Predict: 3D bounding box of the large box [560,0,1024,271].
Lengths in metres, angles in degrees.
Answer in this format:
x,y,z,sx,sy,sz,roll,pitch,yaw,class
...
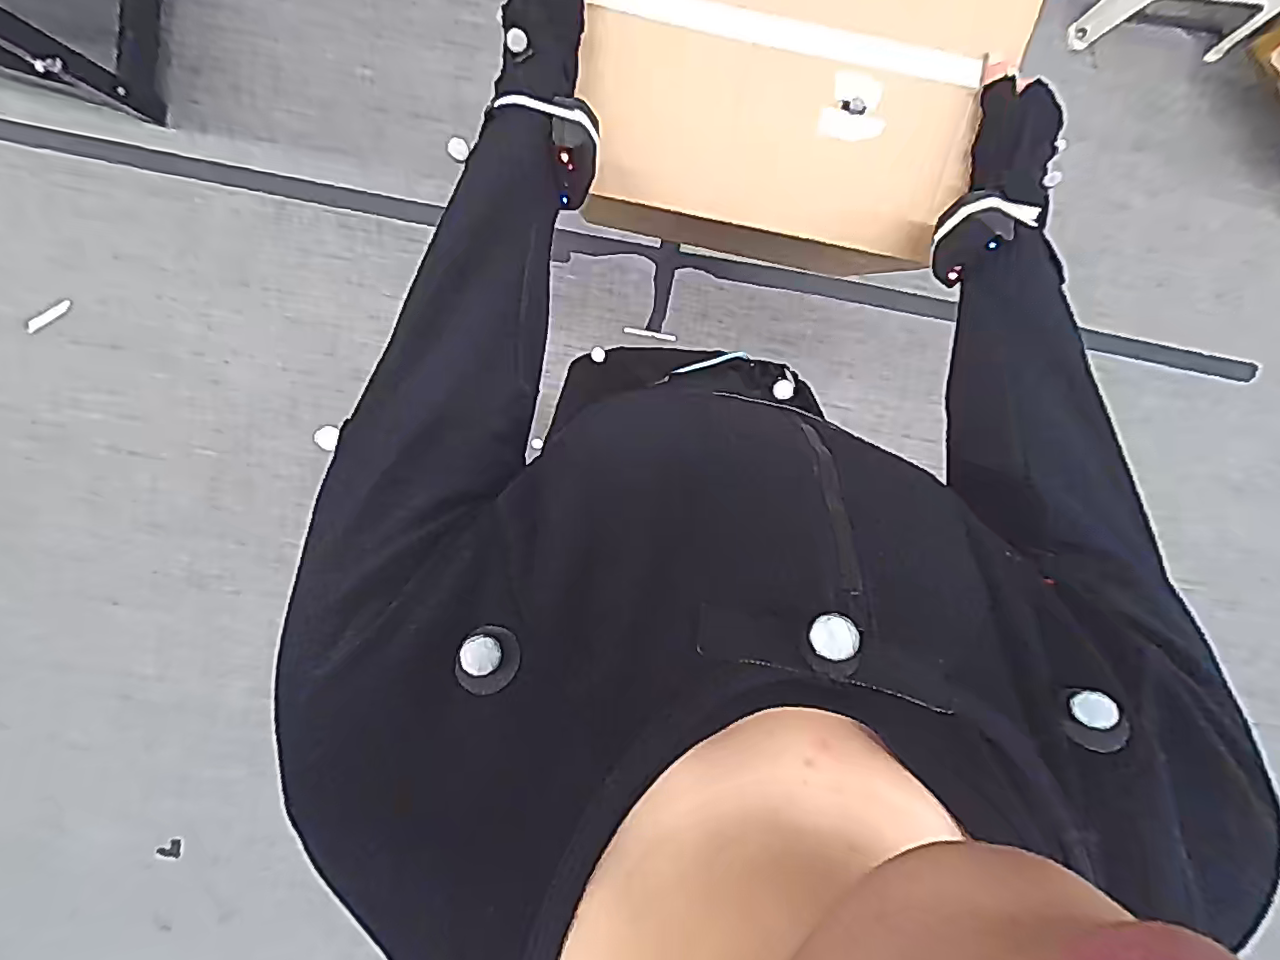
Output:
x,y,z,sx,sy,sz,roll,pitch,yaw,class
0.137,-0.448,0.641,0.408,0.320,0.320,10,110,-4,large box
